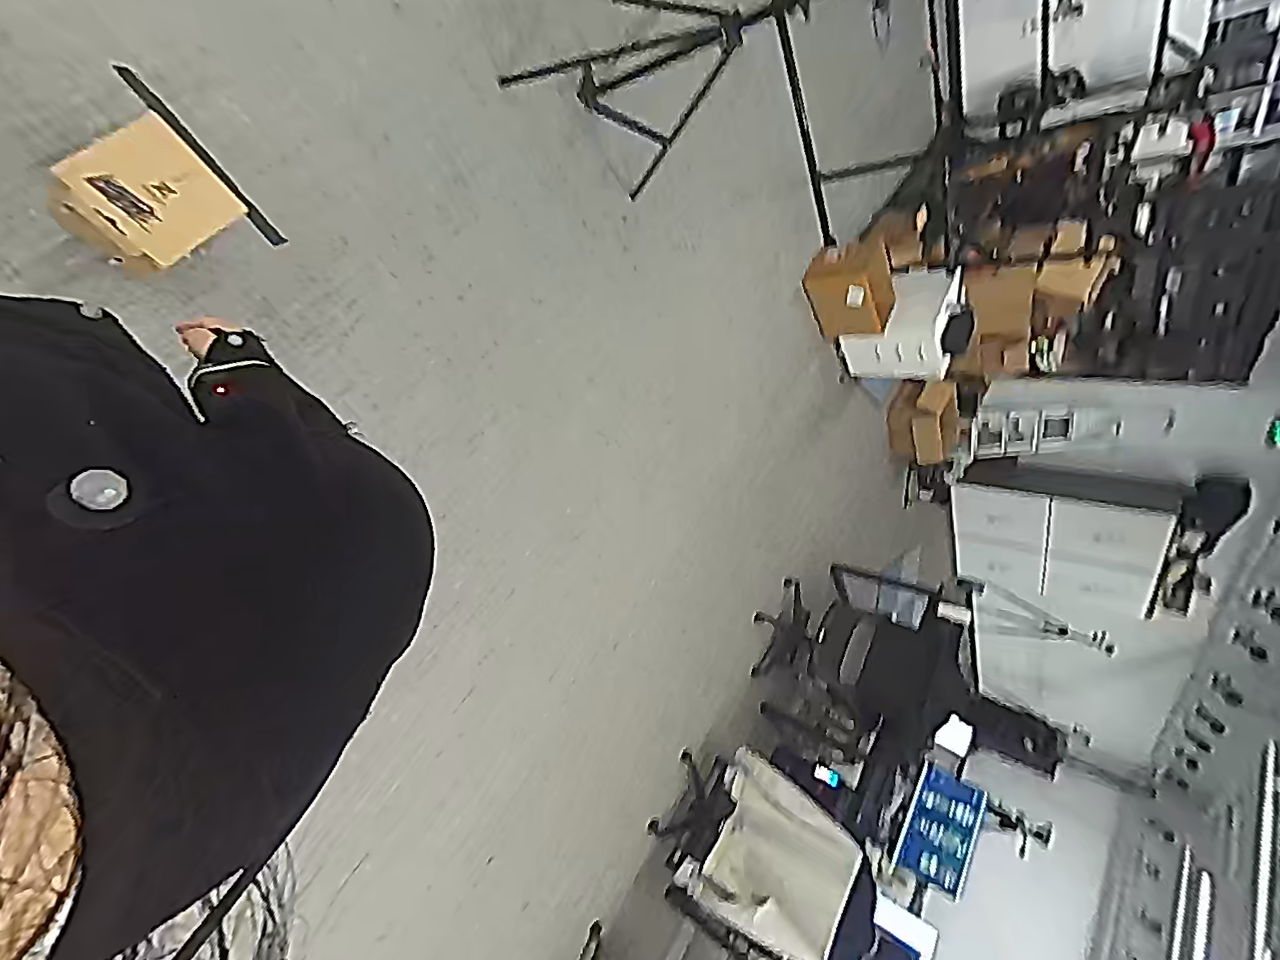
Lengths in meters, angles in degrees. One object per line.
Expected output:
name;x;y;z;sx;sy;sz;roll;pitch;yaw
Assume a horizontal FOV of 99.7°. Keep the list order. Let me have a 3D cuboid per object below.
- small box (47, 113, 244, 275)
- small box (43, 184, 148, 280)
small box;-0.824;-0.467;0.908;0.179;0.176;0.168;-56;135;-24
small box;-0.947;-0.498;1.013;0.179;0.176;0.168;-57;135;-23
